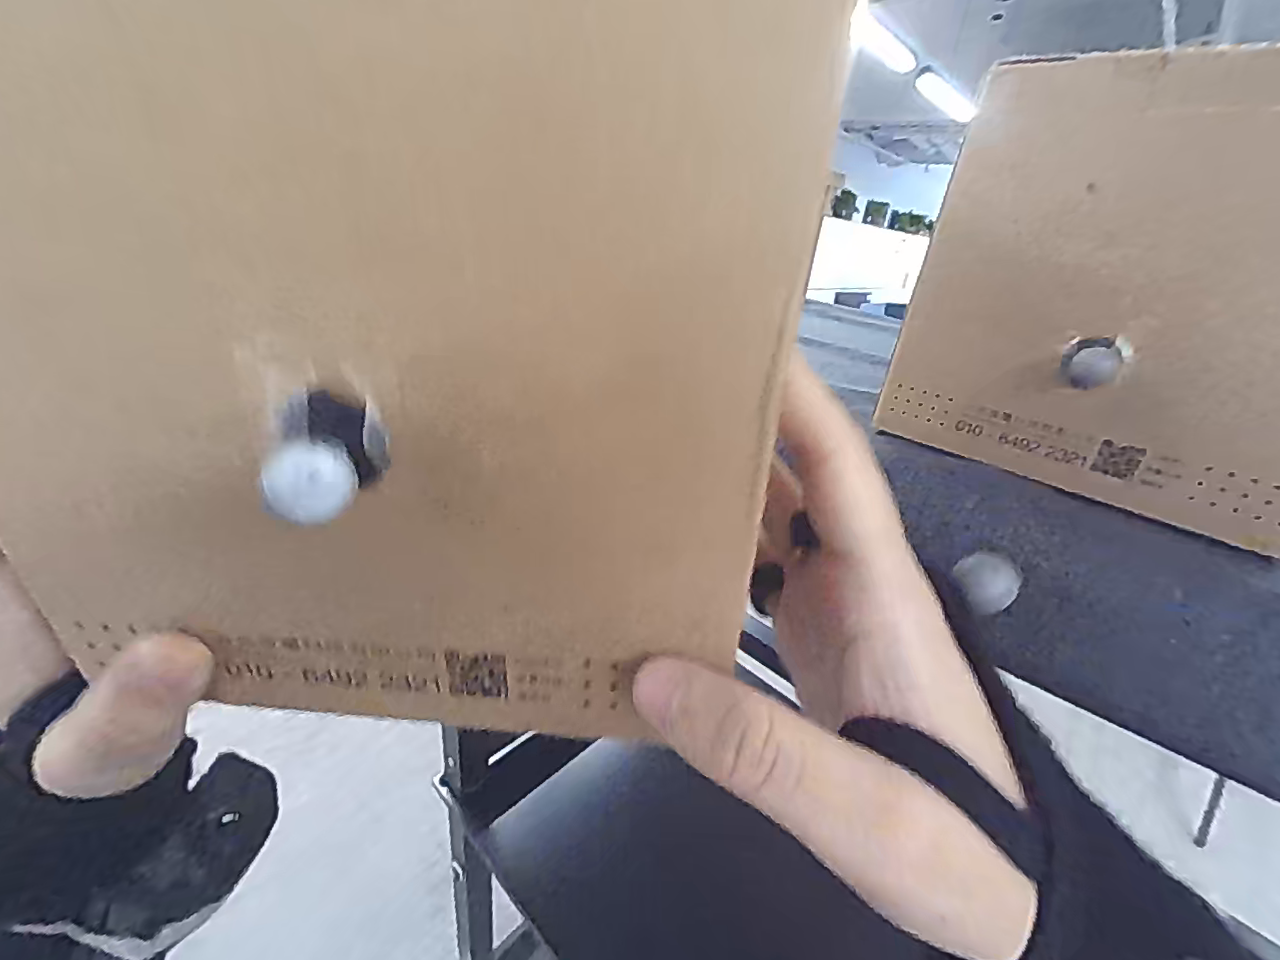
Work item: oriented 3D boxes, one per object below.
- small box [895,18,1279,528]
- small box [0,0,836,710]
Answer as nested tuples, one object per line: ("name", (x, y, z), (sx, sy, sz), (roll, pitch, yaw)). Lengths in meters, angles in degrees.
("small box", (0.257, -0.097, 0.274), (0.168, 0.176, 0.179), (27, 29, 37))
("small box", (-0.050, -0.053, 0.176), (0.168, 0.176, 0.179), (5, 28, 1))
